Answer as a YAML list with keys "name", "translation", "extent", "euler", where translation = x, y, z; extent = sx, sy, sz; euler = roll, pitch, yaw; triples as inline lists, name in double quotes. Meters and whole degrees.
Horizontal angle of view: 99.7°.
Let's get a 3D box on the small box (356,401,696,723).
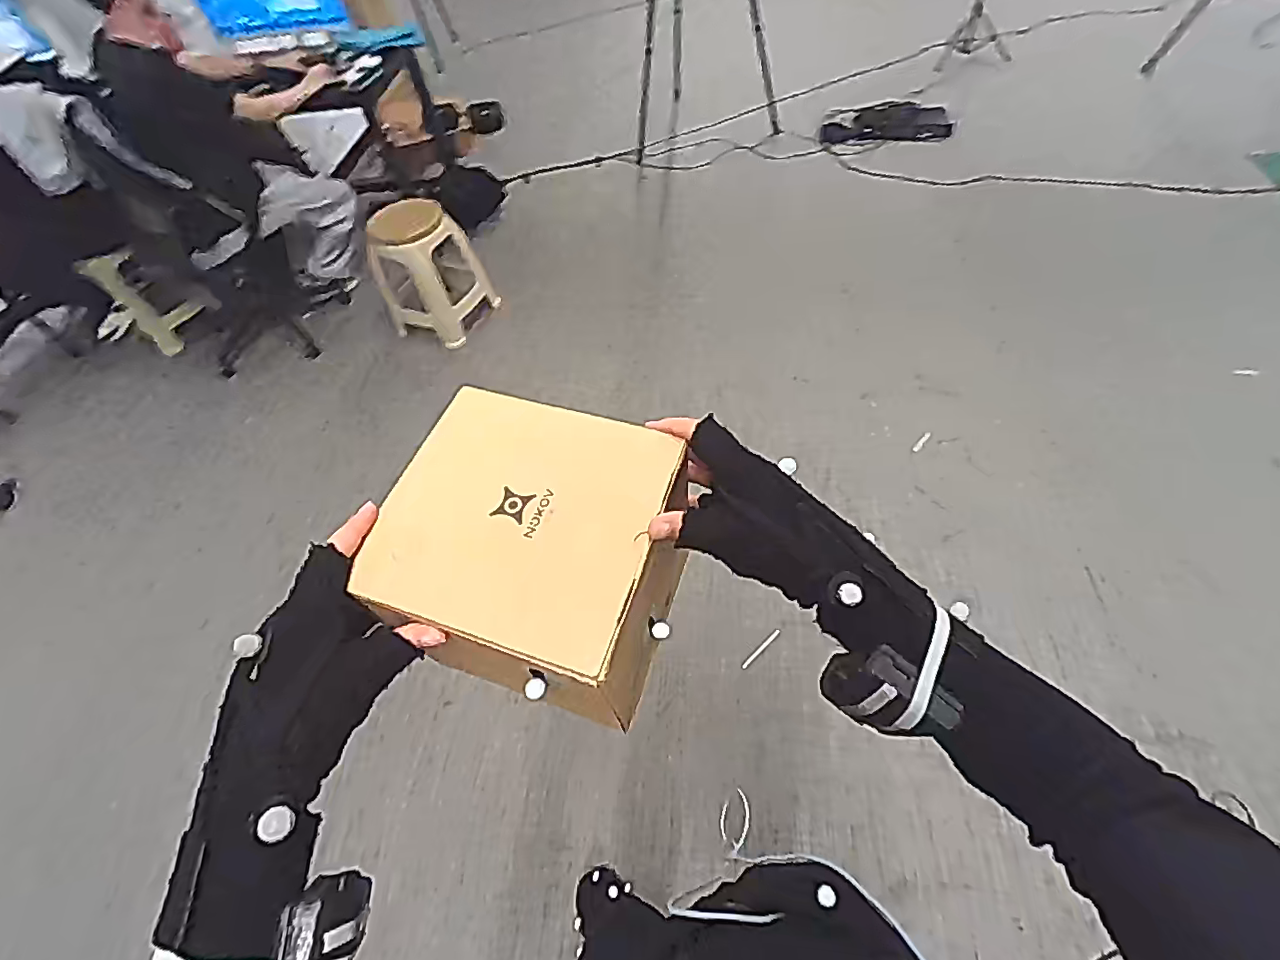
- name: "small box"
  translation: [-0.065, 0.069, 0.419]
  extent: [0.179, 0.176, 0.168]
  euler: [15, 59, 14]
